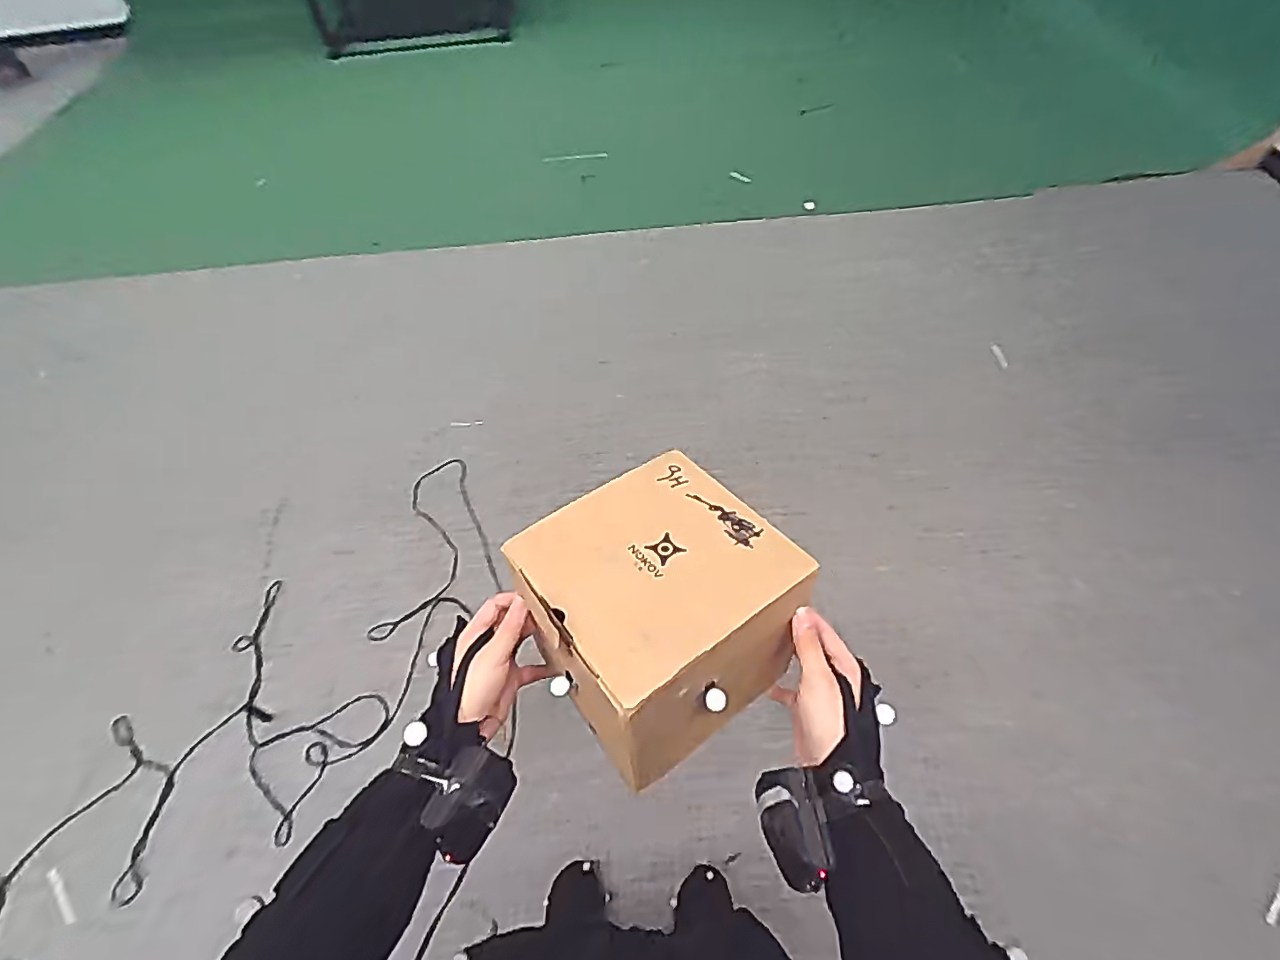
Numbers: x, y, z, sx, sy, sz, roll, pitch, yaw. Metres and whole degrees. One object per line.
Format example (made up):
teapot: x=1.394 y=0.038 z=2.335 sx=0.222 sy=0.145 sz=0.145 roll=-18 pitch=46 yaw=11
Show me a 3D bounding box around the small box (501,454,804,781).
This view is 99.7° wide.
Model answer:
small box: x=0.012 y=0.116 z=0.464 sx=0.179 sy=0.176 sz=0.168 roll=-30 pitch=50 yaw=-24
